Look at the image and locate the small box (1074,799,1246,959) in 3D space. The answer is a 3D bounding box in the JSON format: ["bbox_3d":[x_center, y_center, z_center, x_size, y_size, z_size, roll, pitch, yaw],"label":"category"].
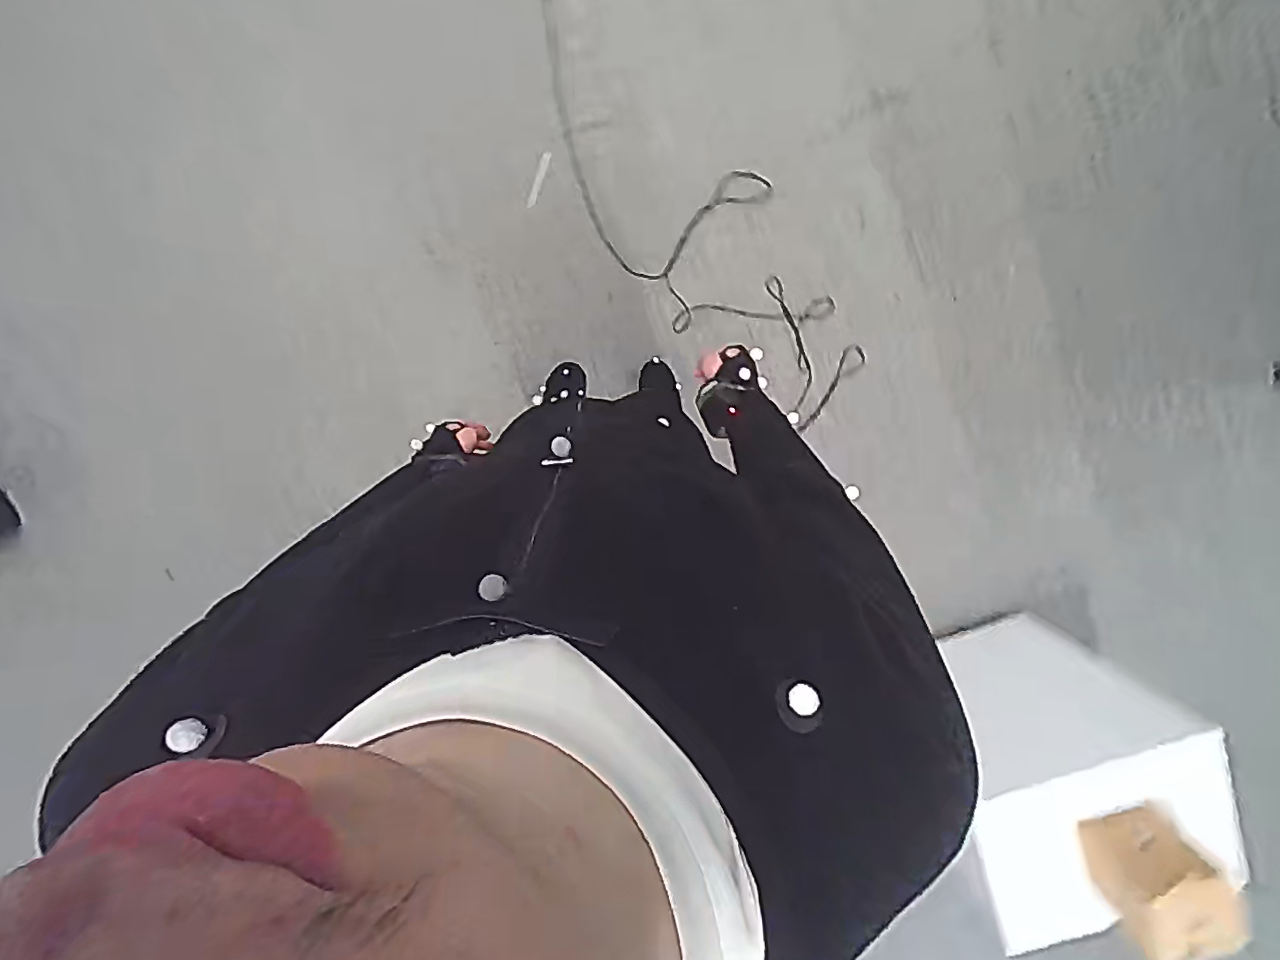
[{"bbox_3d":[1.005,0.766,1.060,0.168,0.176,0.179,-23,101,3],"label":"small box"}]
